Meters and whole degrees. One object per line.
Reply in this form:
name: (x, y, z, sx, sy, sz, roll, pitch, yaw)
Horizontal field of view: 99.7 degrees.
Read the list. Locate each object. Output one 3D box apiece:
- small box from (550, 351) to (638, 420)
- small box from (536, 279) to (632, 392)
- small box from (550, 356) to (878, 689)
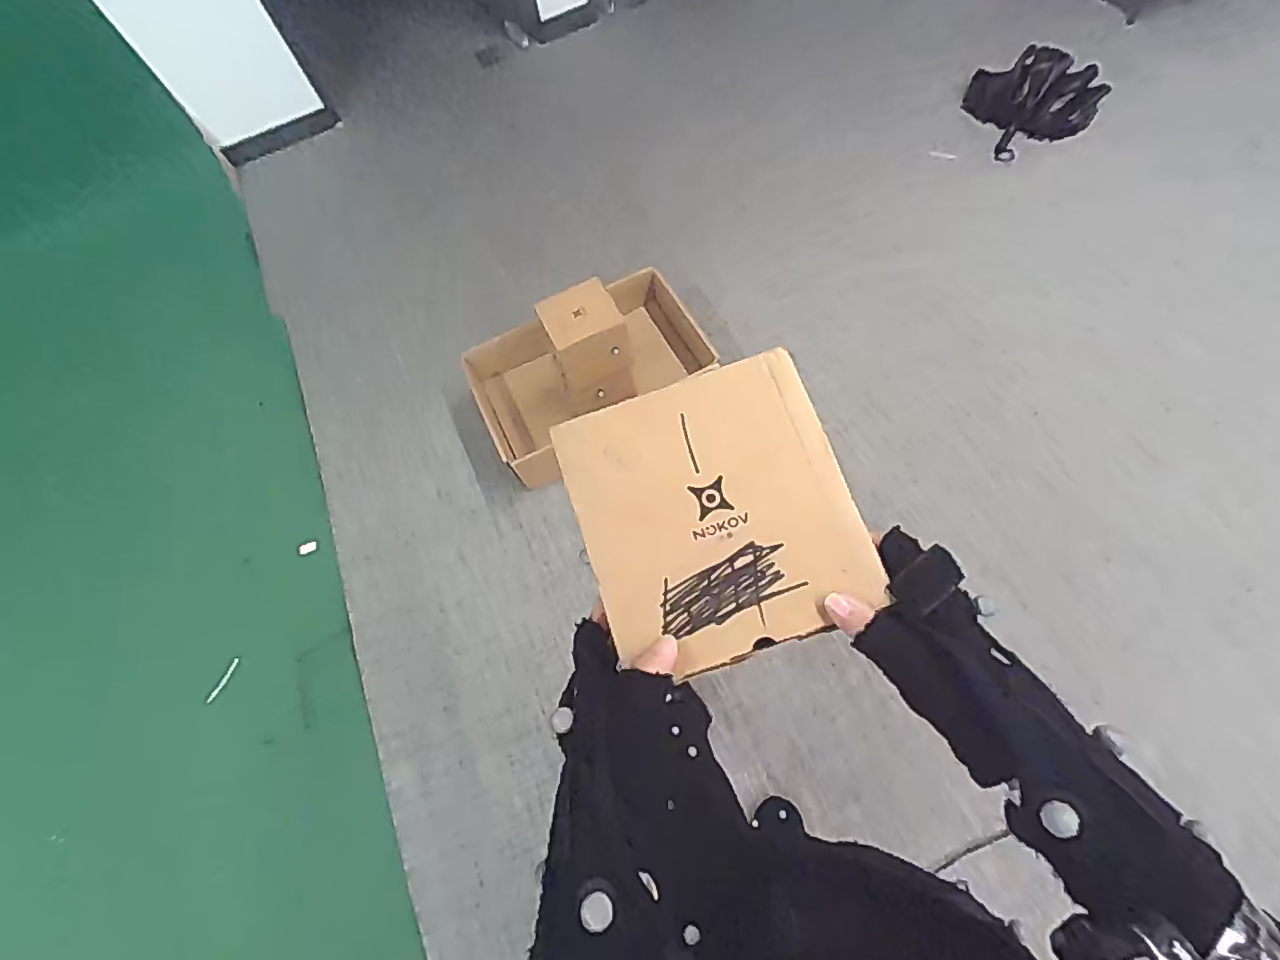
small box: (-0.122, -0.290, 1.509, 0.179, 0.176, 0.168, -28, 64, -6)
small box: (-0.130, -0.352, 1.338, 0.179, 0.176, 0.168, -30, 65, -7)
small box: (0.048, 0.037, 0.421, 0.168, 0.176, 0.179, -19, 77, 0)
